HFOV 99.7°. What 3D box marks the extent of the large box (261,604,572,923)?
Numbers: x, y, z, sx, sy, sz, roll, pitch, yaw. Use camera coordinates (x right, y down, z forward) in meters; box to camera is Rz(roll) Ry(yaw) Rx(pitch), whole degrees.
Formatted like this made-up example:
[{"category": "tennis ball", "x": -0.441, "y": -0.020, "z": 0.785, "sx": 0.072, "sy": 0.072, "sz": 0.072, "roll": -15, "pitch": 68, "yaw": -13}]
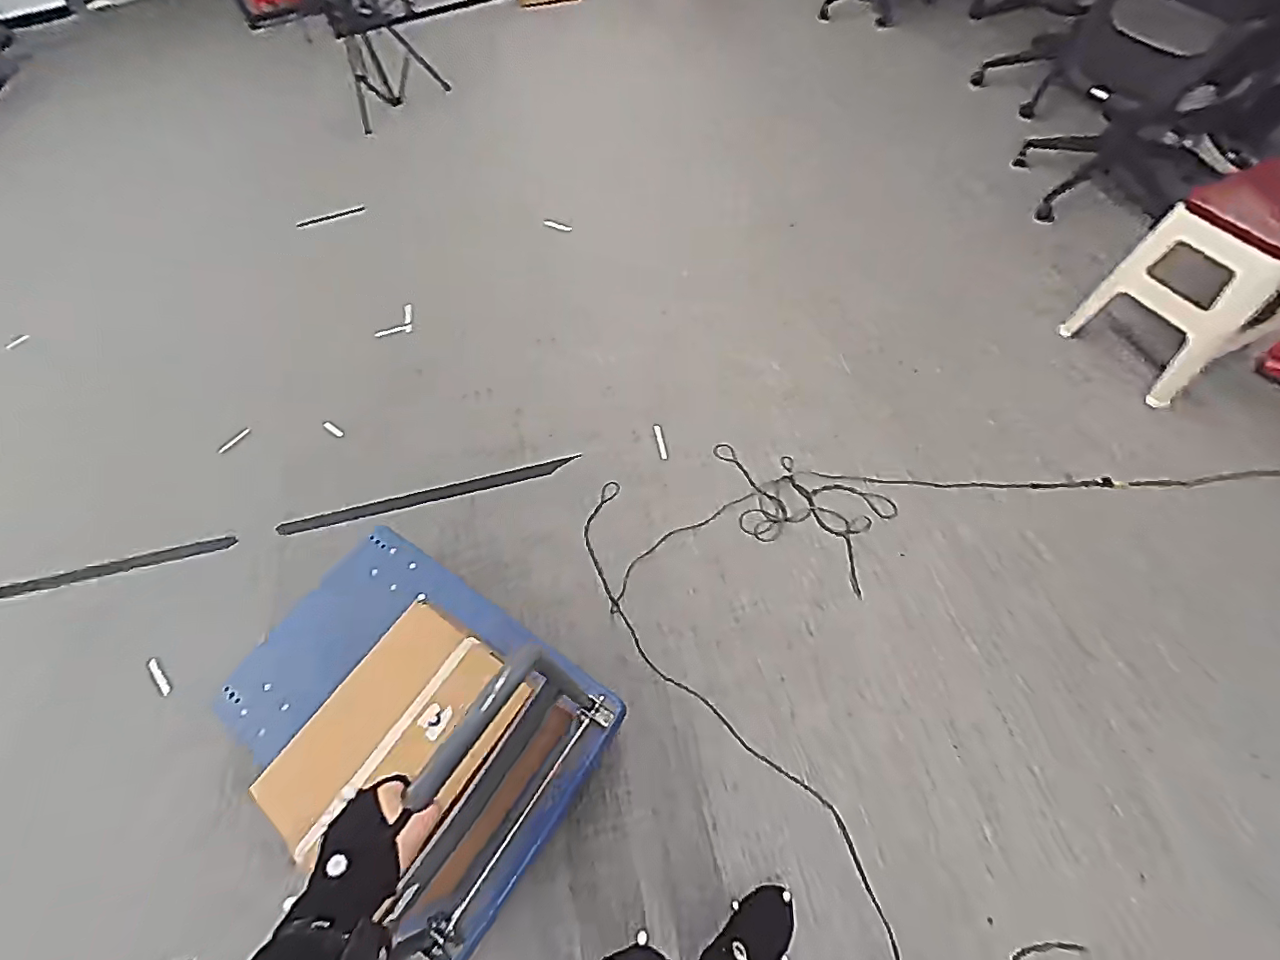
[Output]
[{"category": "large box", "x": -0.397, "y": 0.533, "z": 1.058, "sx": 0.320, "sy": 0.320, "sz": 0.408, "roll": 28, "pitch": 65, "yaw": 22}]
